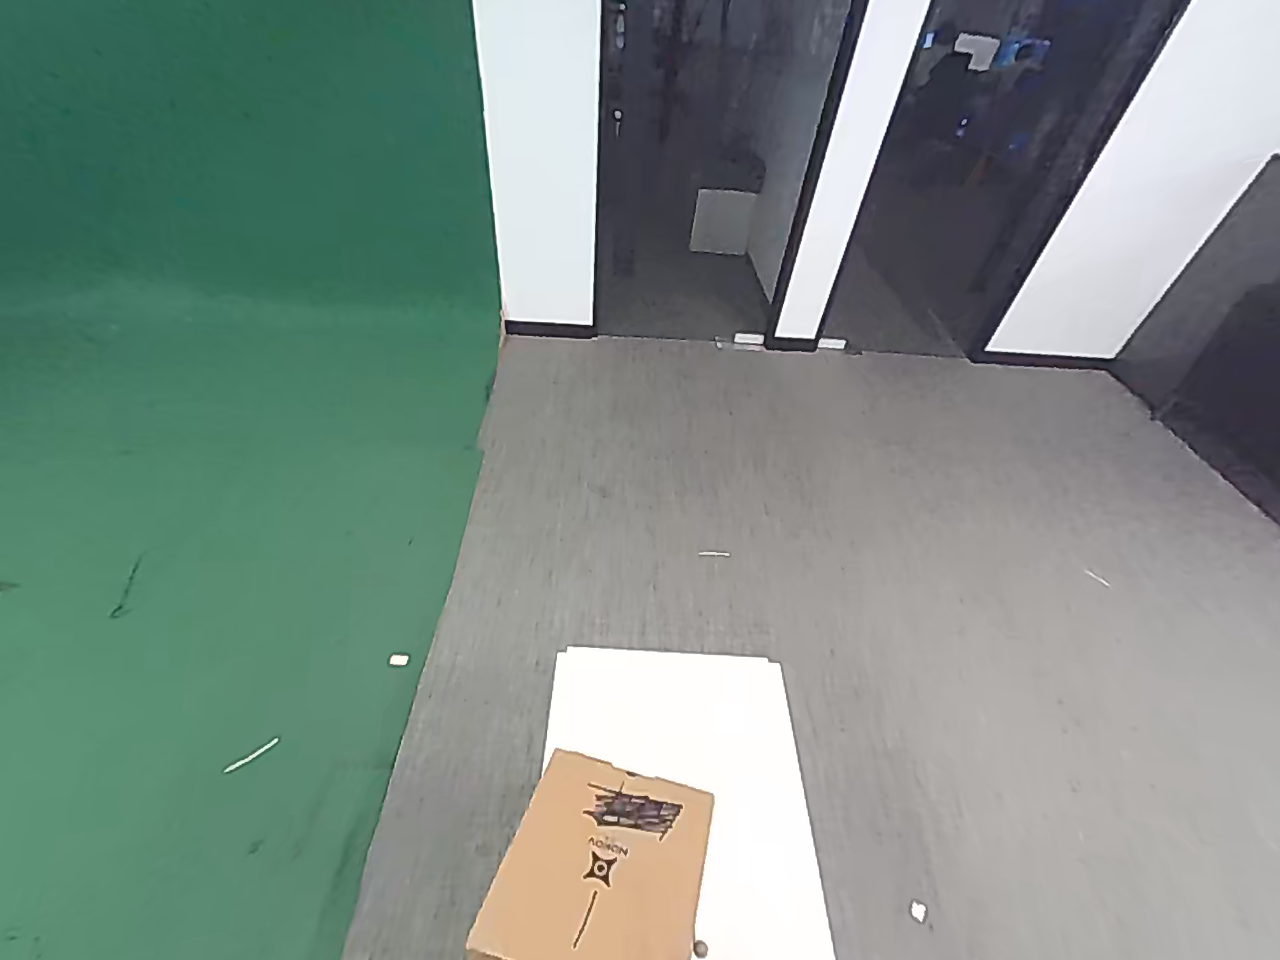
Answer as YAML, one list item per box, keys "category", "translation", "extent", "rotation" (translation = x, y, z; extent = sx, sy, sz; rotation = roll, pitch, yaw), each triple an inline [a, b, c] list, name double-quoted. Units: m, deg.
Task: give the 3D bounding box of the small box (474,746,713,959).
- category: "small box"
  translation: [-0.034, 0.395, 0.503]
  extent: [0.168, 0.176, 0.179]
  rotation: [9, 27, 12]
